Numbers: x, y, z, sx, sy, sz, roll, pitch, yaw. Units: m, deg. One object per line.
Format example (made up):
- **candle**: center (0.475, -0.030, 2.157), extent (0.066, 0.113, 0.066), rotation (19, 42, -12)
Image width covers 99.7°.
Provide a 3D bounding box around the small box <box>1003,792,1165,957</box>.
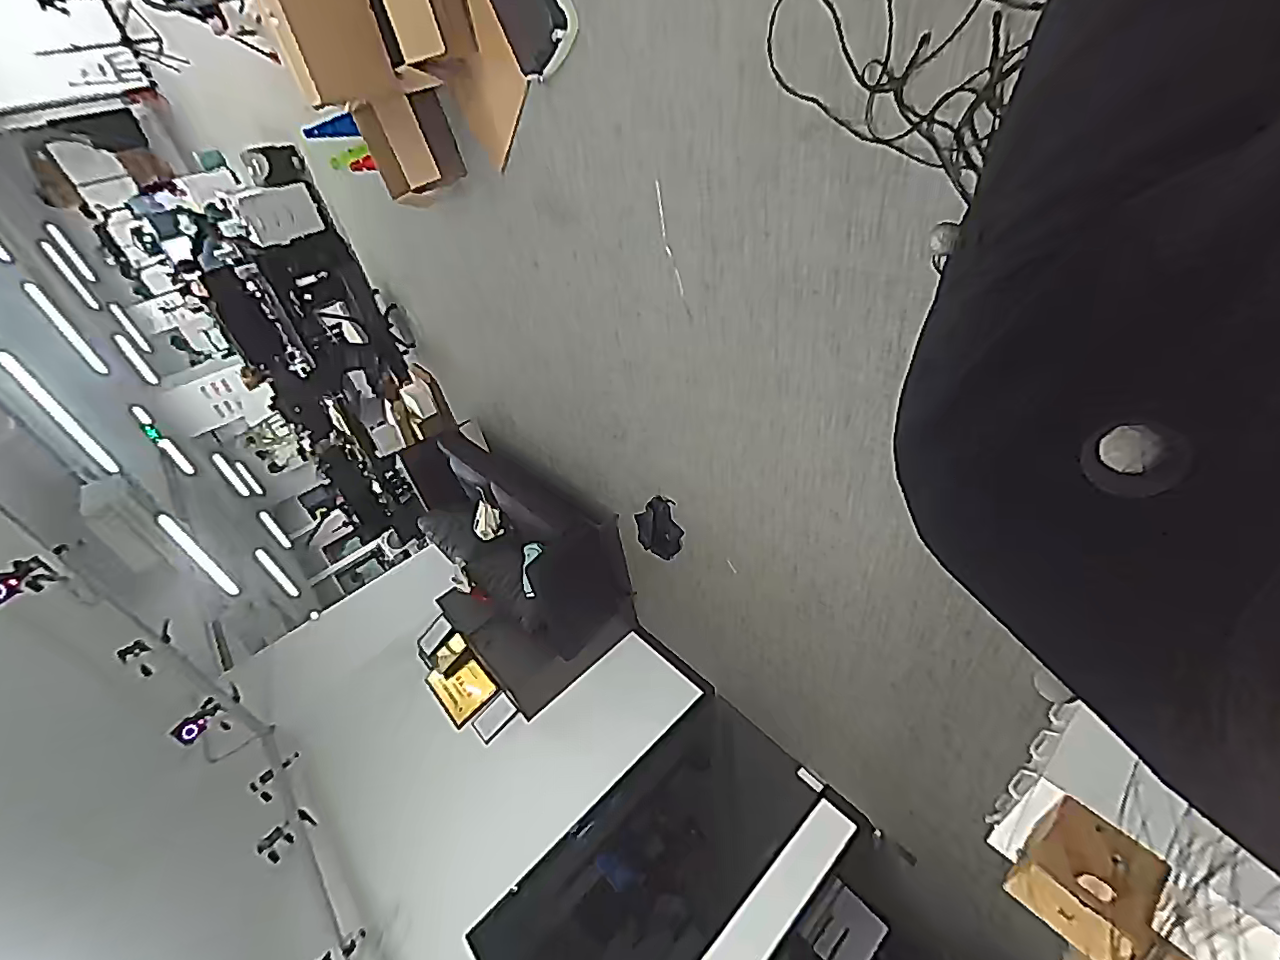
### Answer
- **small box**: center (0.837, 0.740, 1.024), extent (0.168, 0.176, 0.179), rotation (32, 146, 38)
